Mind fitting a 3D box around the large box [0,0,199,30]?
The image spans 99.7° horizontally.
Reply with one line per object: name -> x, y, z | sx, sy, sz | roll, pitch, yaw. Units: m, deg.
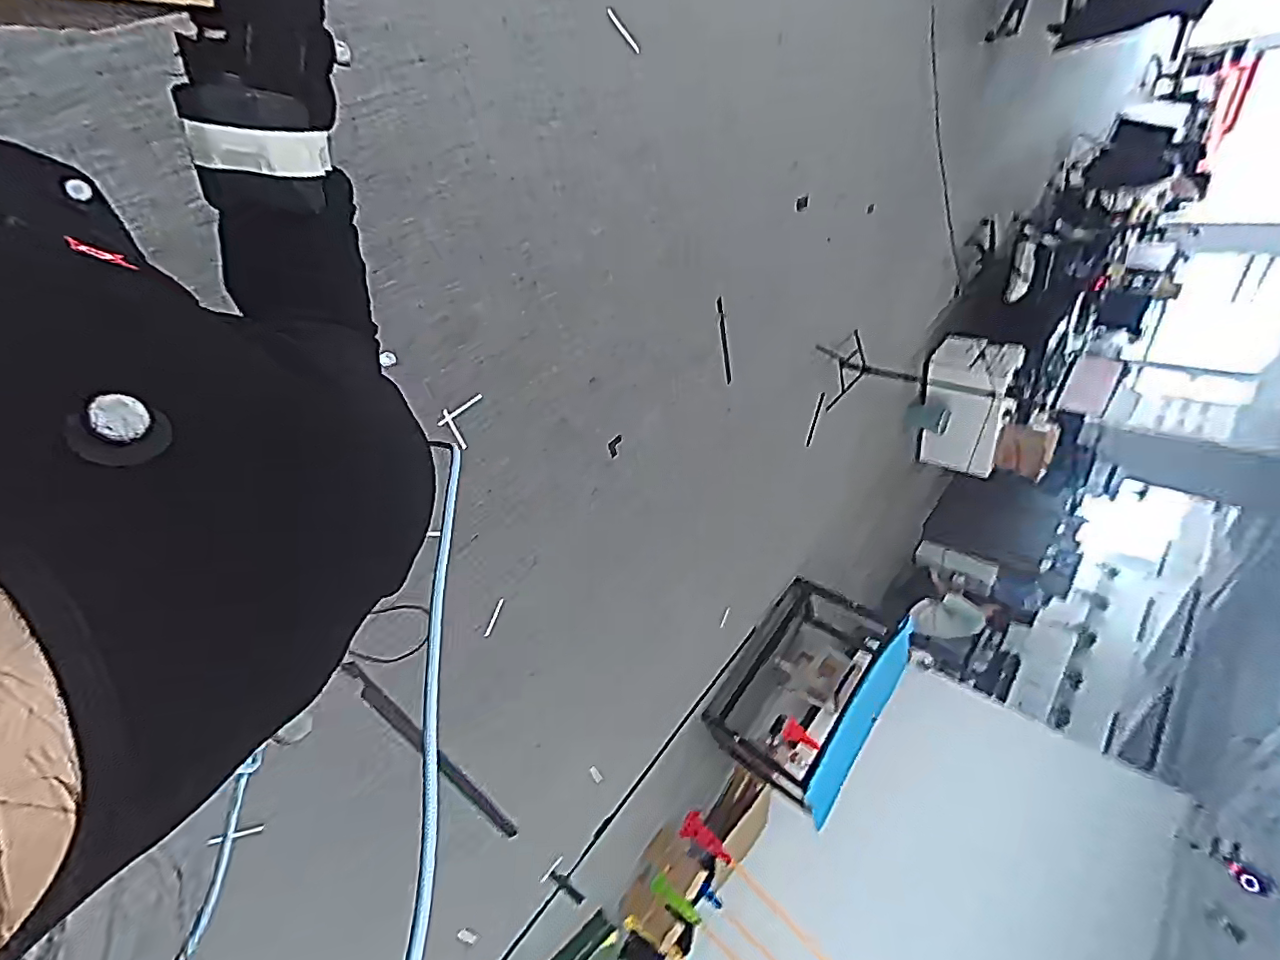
large box -> -0.461, -0.340, 0.148 | 0.408, 0.320, 0.320 | -32, 138, -37
